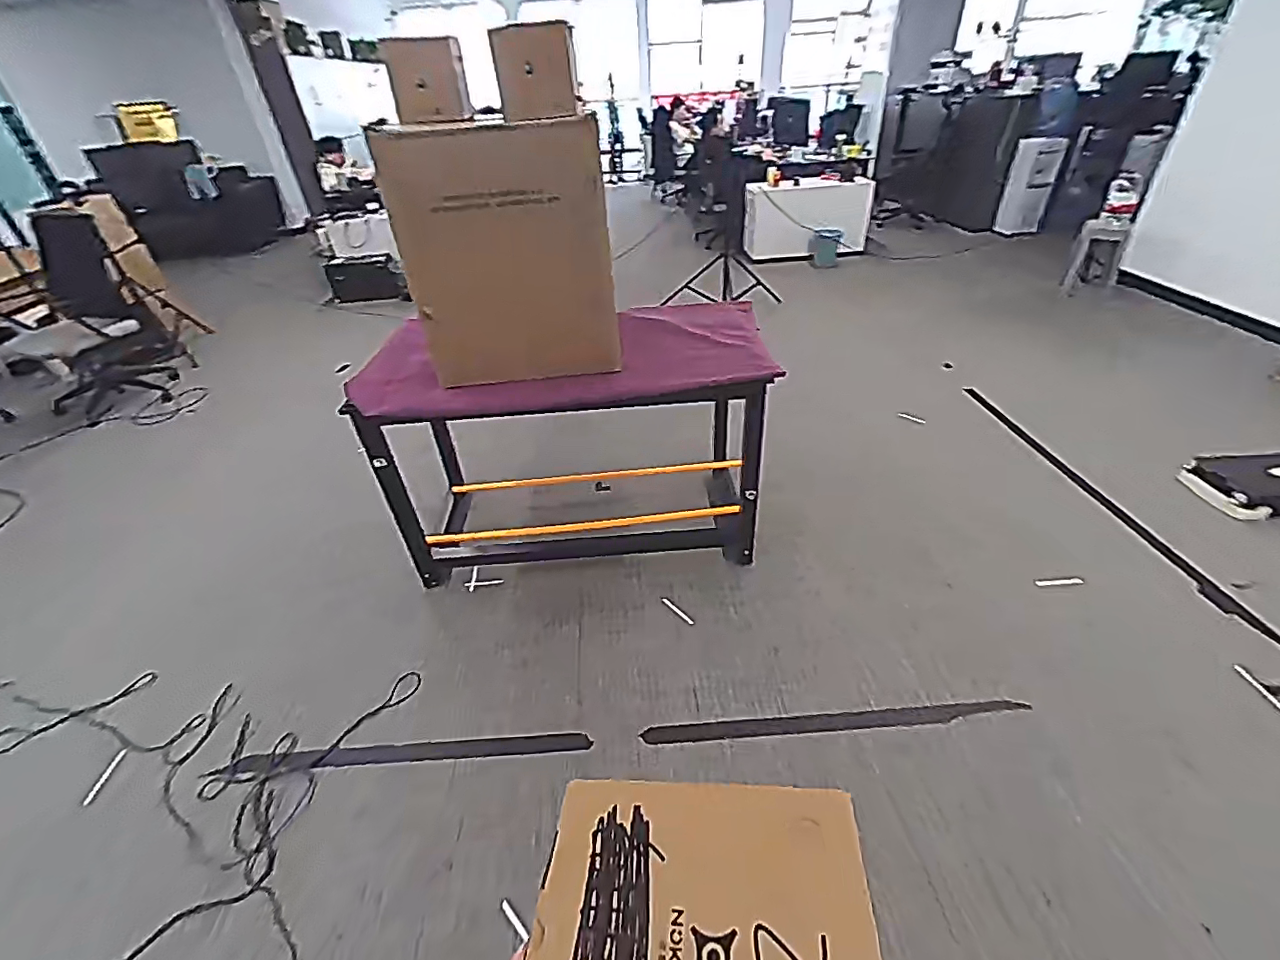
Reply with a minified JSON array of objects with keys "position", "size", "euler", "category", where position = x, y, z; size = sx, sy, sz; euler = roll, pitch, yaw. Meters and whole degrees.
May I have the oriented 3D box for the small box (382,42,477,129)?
[{"position":[-0.521,-0.992,1.367],"size":[0.168,0.176,0.179],"euler":[-4,37,-3],"category":"small box"}]
